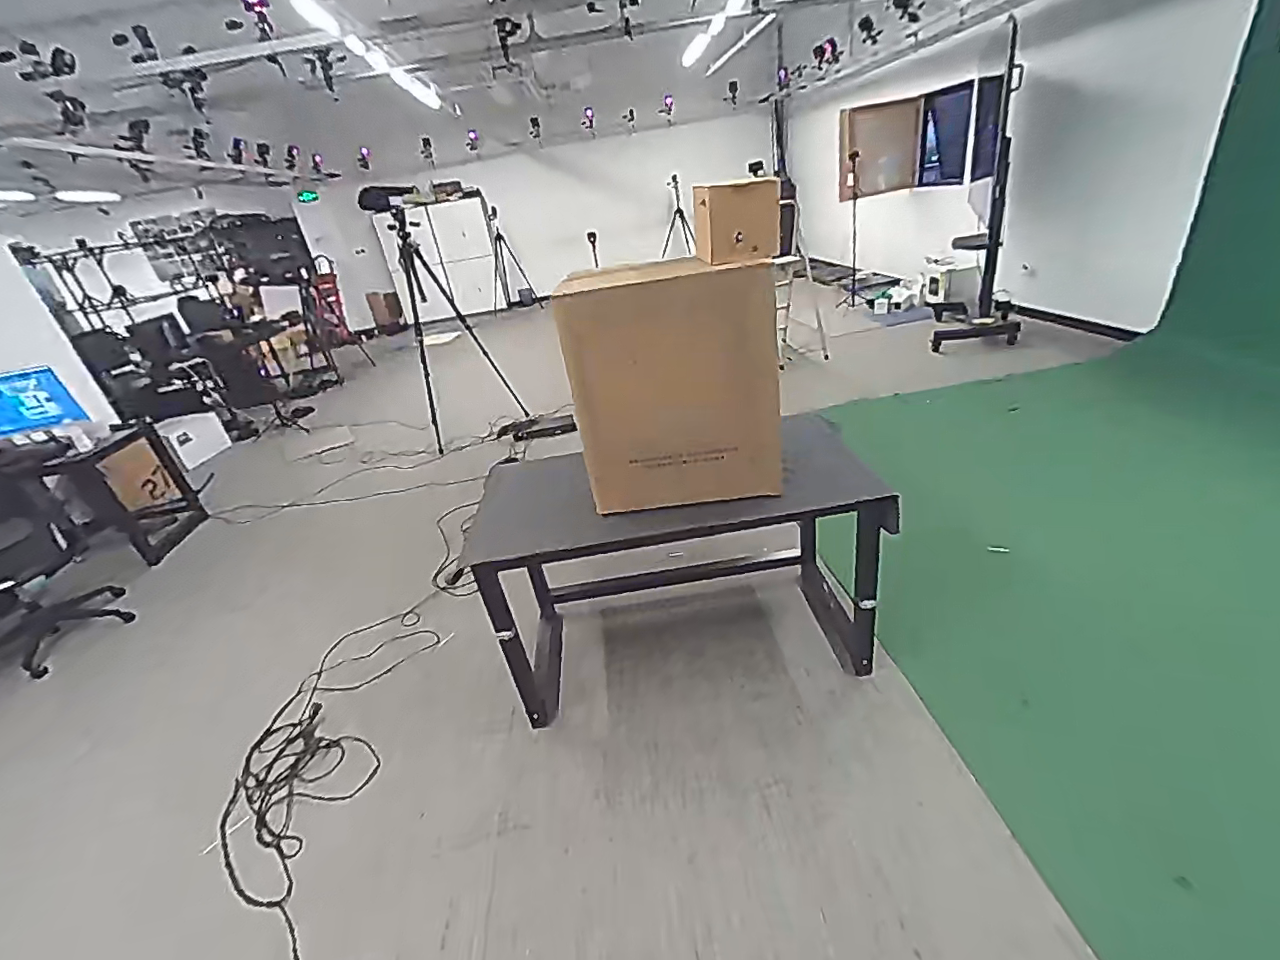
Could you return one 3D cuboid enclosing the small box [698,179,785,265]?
[{"bbox_3d":[0.237,-0.621,1.300,0.168,0.176,0.179,-9,30,-4],"label":"small box"}]
